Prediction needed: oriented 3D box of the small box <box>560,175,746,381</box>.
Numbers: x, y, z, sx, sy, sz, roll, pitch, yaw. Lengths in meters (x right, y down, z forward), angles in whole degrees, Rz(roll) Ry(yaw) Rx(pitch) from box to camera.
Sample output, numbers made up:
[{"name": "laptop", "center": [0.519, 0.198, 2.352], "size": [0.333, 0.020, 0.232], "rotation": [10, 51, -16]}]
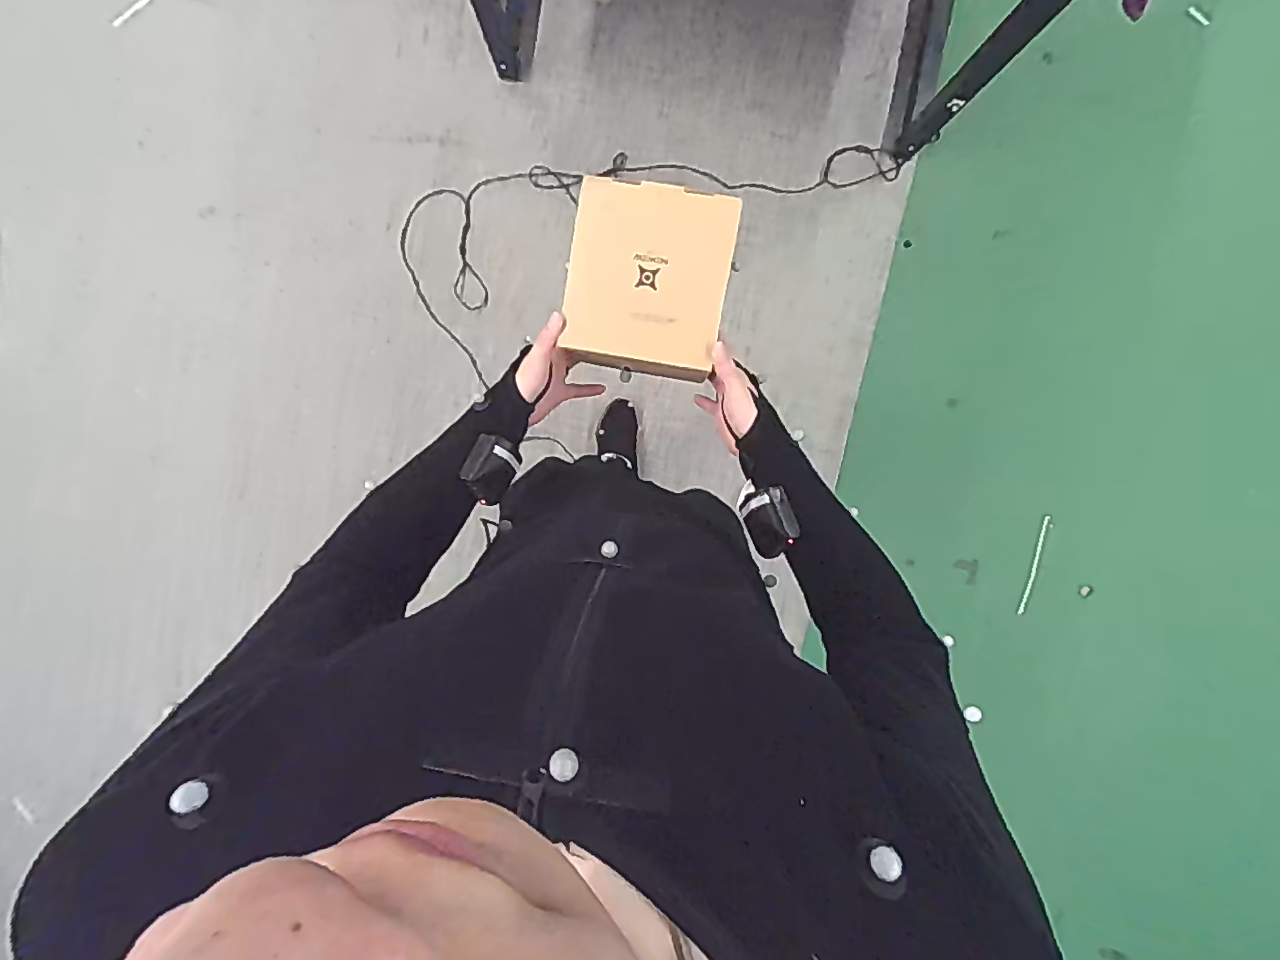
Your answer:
[{"name": "small box", "center": [0.014, -0.219, 0.634], "size": [0.168, 0.176, 0.179], "rotation": [11, 98, 1]}]
